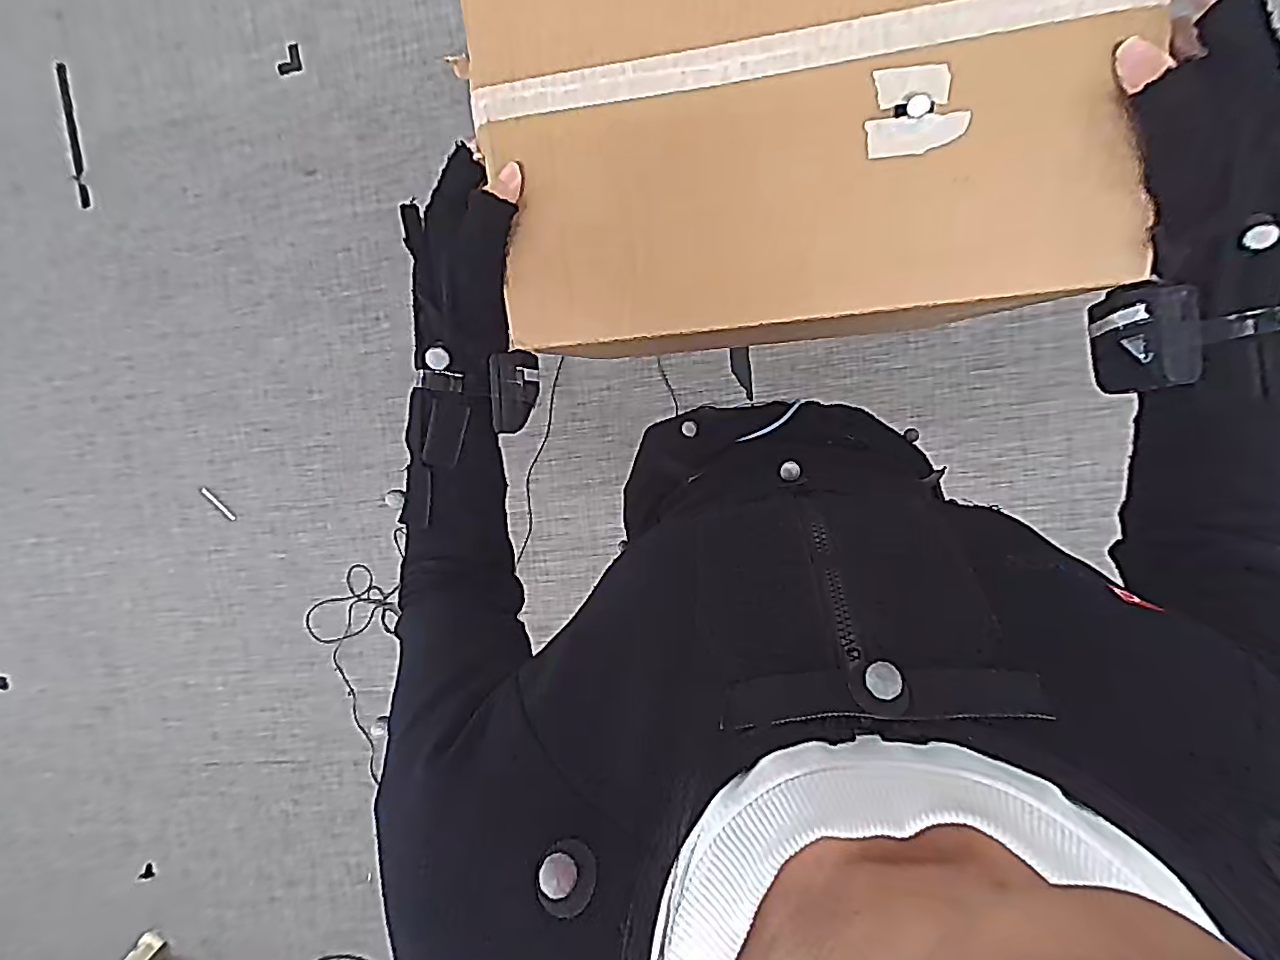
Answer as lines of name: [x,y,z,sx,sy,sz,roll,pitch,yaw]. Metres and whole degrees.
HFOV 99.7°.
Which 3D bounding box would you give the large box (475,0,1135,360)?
large box: [0.109,-0.293,0.489,0.408,0.320,0.320,-5,101,7]
